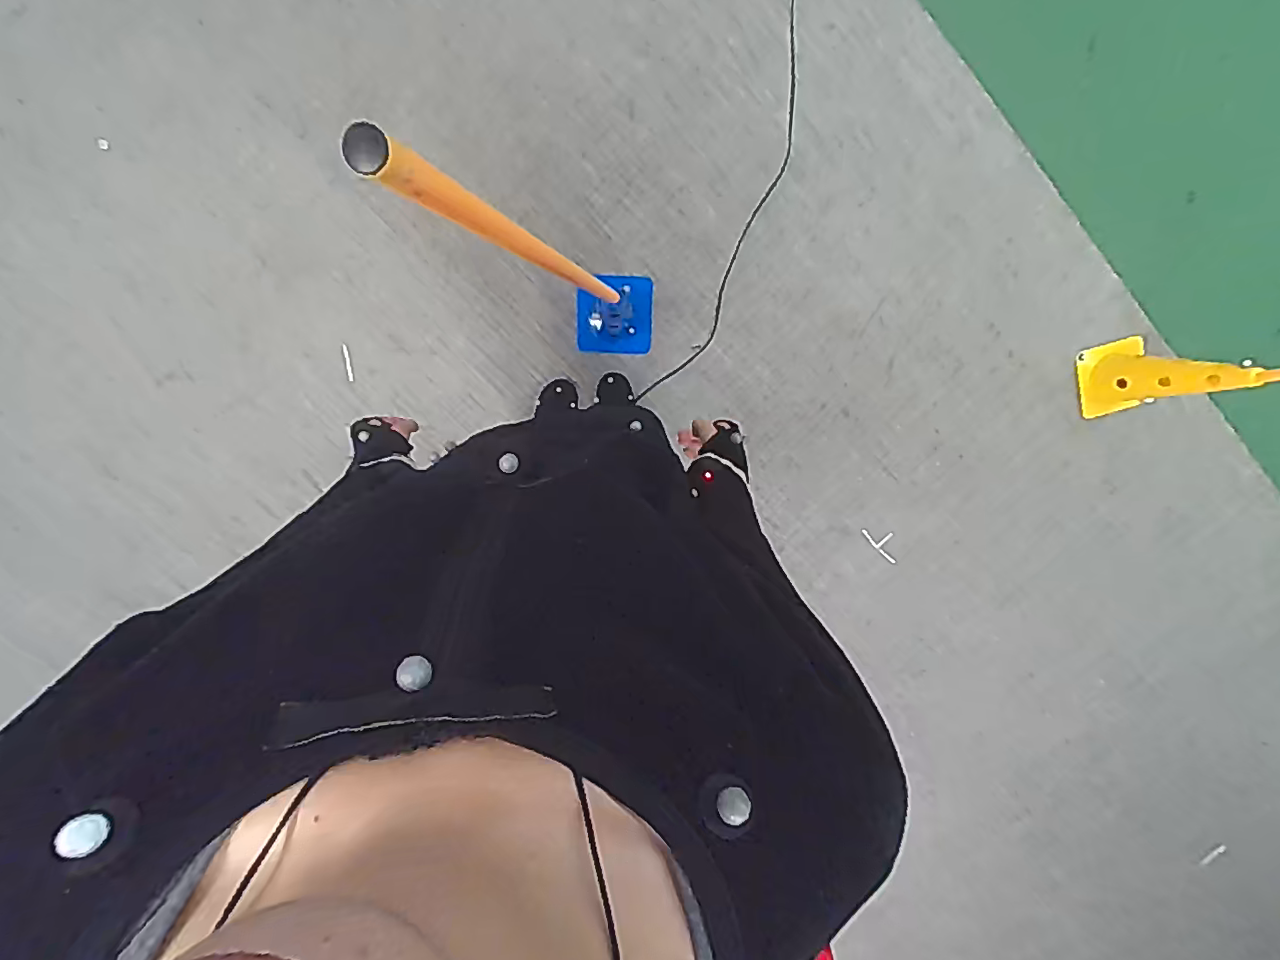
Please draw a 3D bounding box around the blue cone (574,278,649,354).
[{"bbox_3d":[-0.069,-0.395,1.251,0.193,0.380,0.192,0,101,-2],"label":"blue cone"}]
